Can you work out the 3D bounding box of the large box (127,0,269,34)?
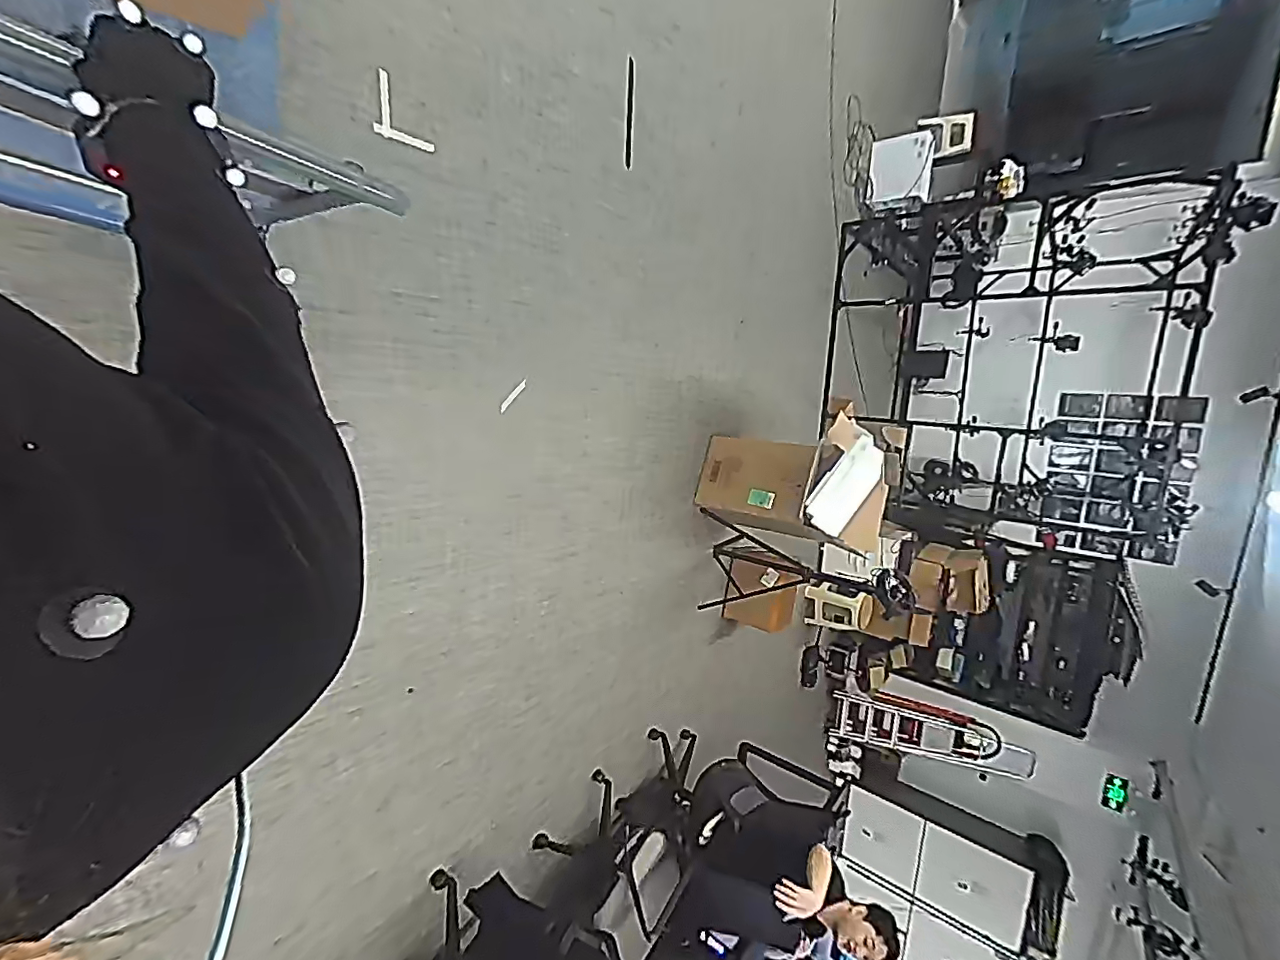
[{"bbox_3d":[-0.787,-0.934,0.765,0.408,0.320,0.320,-20,114,-49],"label":"large box"}]
